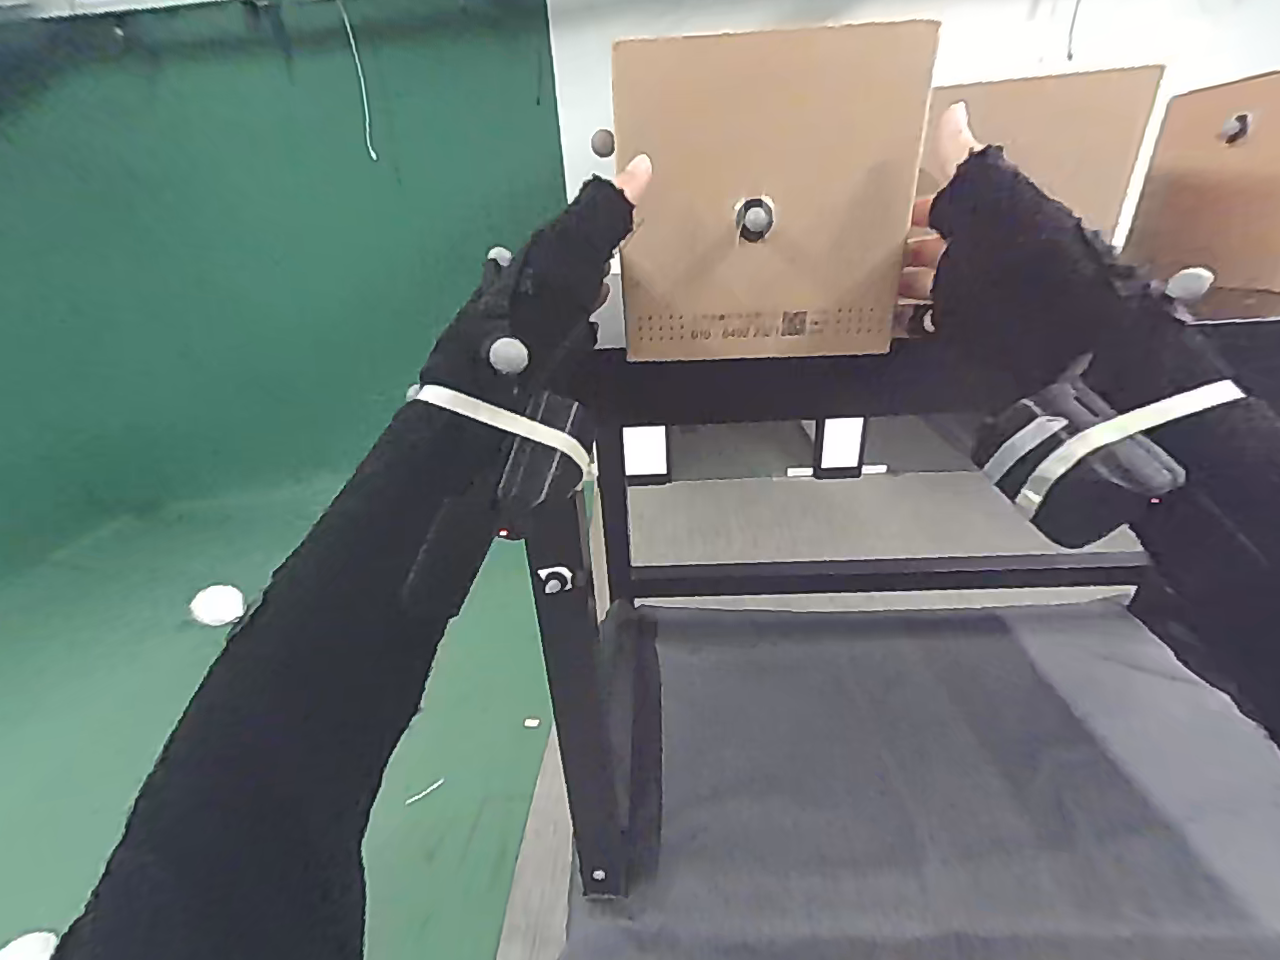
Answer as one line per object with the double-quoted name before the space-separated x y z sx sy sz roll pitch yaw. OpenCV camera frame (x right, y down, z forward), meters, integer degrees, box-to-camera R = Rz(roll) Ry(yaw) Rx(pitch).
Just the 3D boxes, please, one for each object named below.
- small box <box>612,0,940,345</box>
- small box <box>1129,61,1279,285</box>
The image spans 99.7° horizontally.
"small box" 0.075 -0.192 0.376 0.168 0.176 0.179 0 26 3
"small box" 0.595 -0.265 0.469 0.168 0.176 0.179 -4 25 -1
